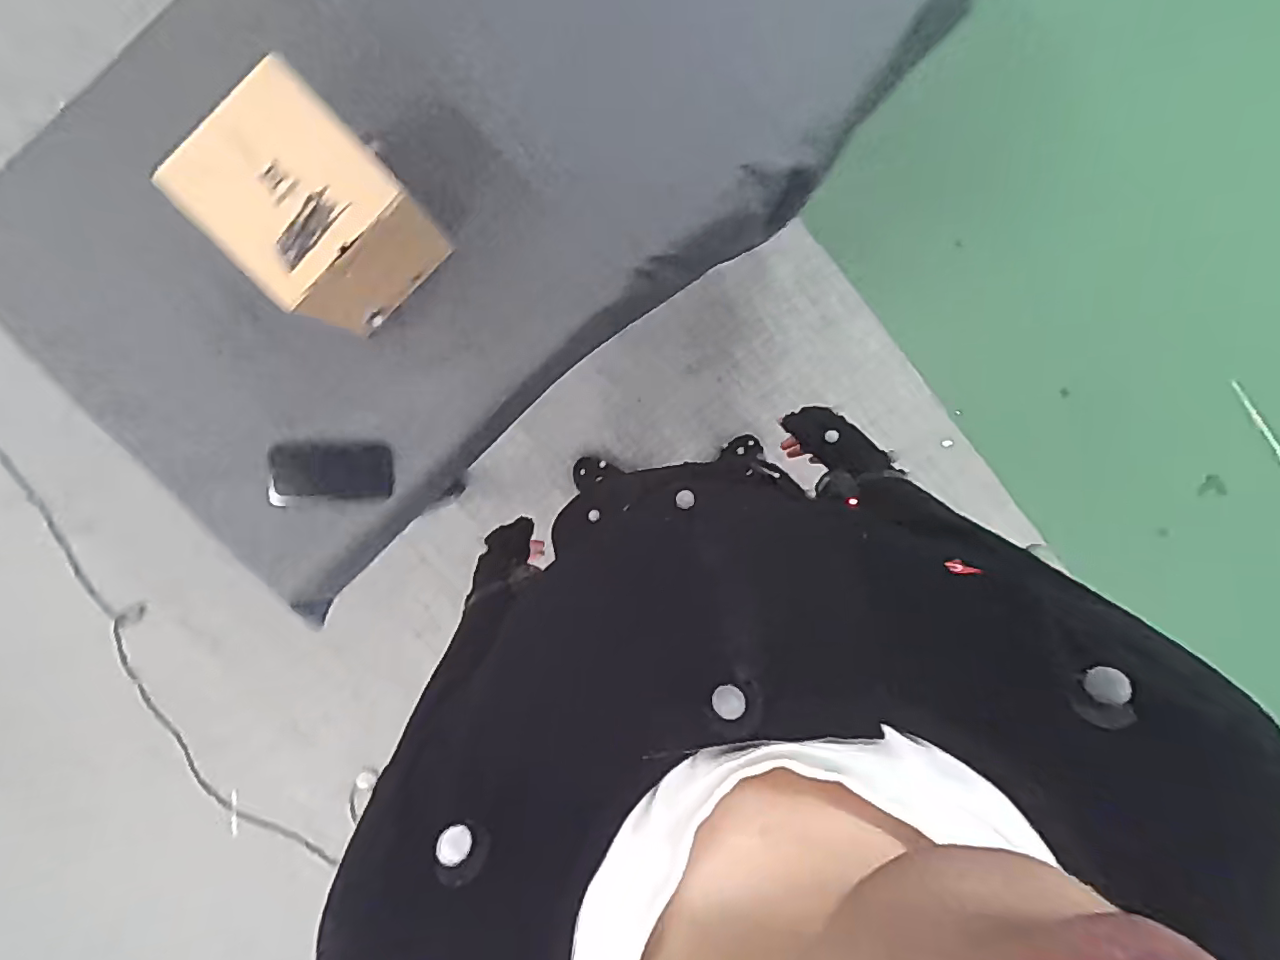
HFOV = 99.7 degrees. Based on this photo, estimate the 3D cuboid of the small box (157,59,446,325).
[{"bbox_3d":[-0.351,-0.293,0.604,0.168,0.176,0.179,-44,95,2],"label":"small box"}]
